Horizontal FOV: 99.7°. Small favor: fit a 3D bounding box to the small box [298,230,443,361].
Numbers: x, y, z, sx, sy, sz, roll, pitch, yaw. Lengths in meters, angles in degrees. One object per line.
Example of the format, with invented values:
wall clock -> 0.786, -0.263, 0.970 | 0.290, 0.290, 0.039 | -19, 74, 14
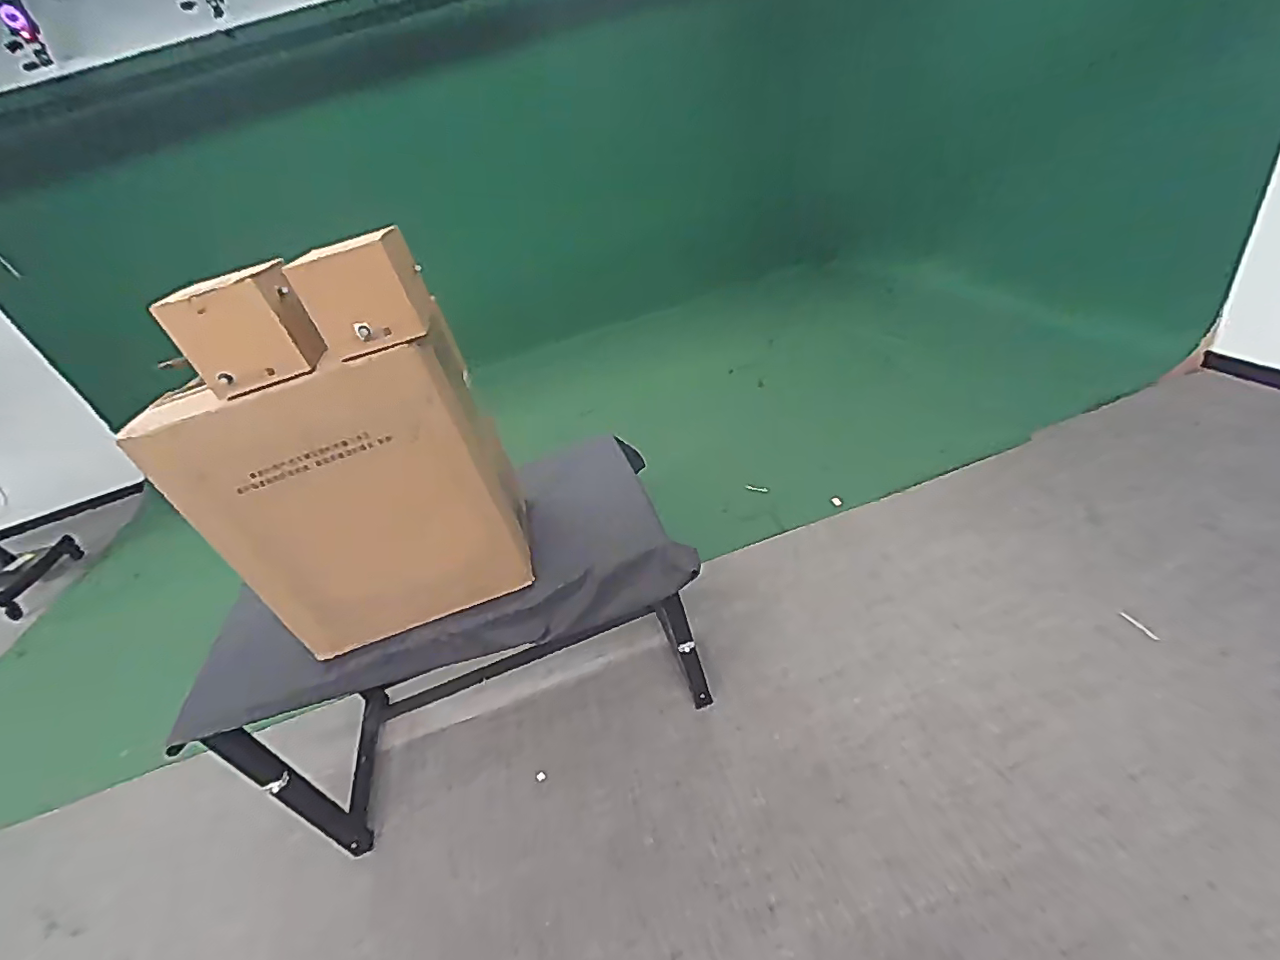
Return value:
small box -> -0.479, -0.340, 0.995 | 0.168, 0.176, 0.179 | -19, 35, -3
